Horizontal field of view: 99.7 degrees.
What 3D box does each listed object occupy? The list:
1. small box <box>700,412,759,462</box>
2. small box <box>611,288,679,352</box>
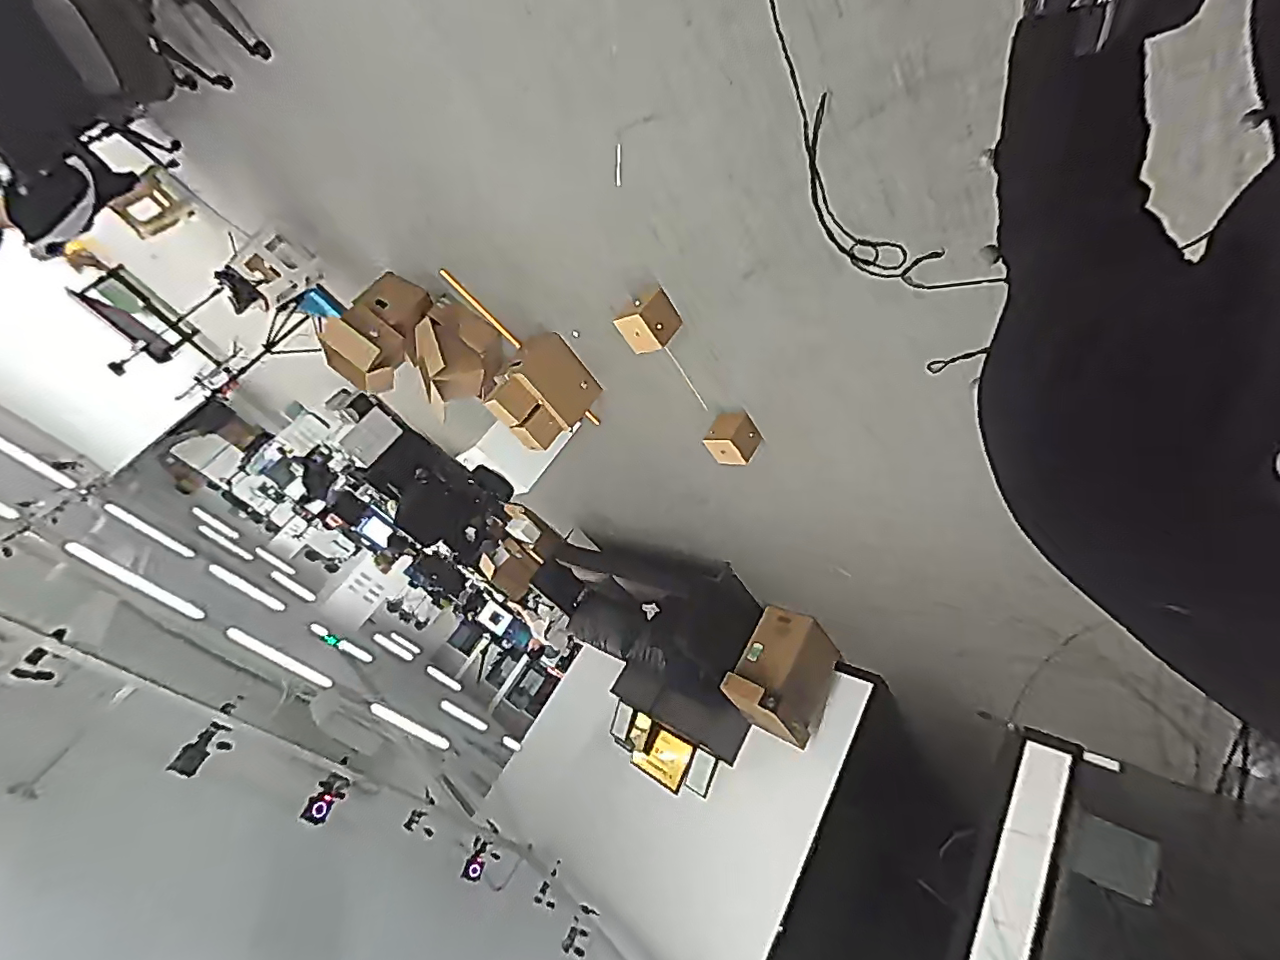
[{"bbox_3d":[0.419,-0.202,2.506,0.179,0.176,0.168,4,144,50],"label":"small box"},{"bbox_3d":[0.023,-0.644,2.162,0.168,0.176,0.179,4,143,49],"label":"small box"}]
